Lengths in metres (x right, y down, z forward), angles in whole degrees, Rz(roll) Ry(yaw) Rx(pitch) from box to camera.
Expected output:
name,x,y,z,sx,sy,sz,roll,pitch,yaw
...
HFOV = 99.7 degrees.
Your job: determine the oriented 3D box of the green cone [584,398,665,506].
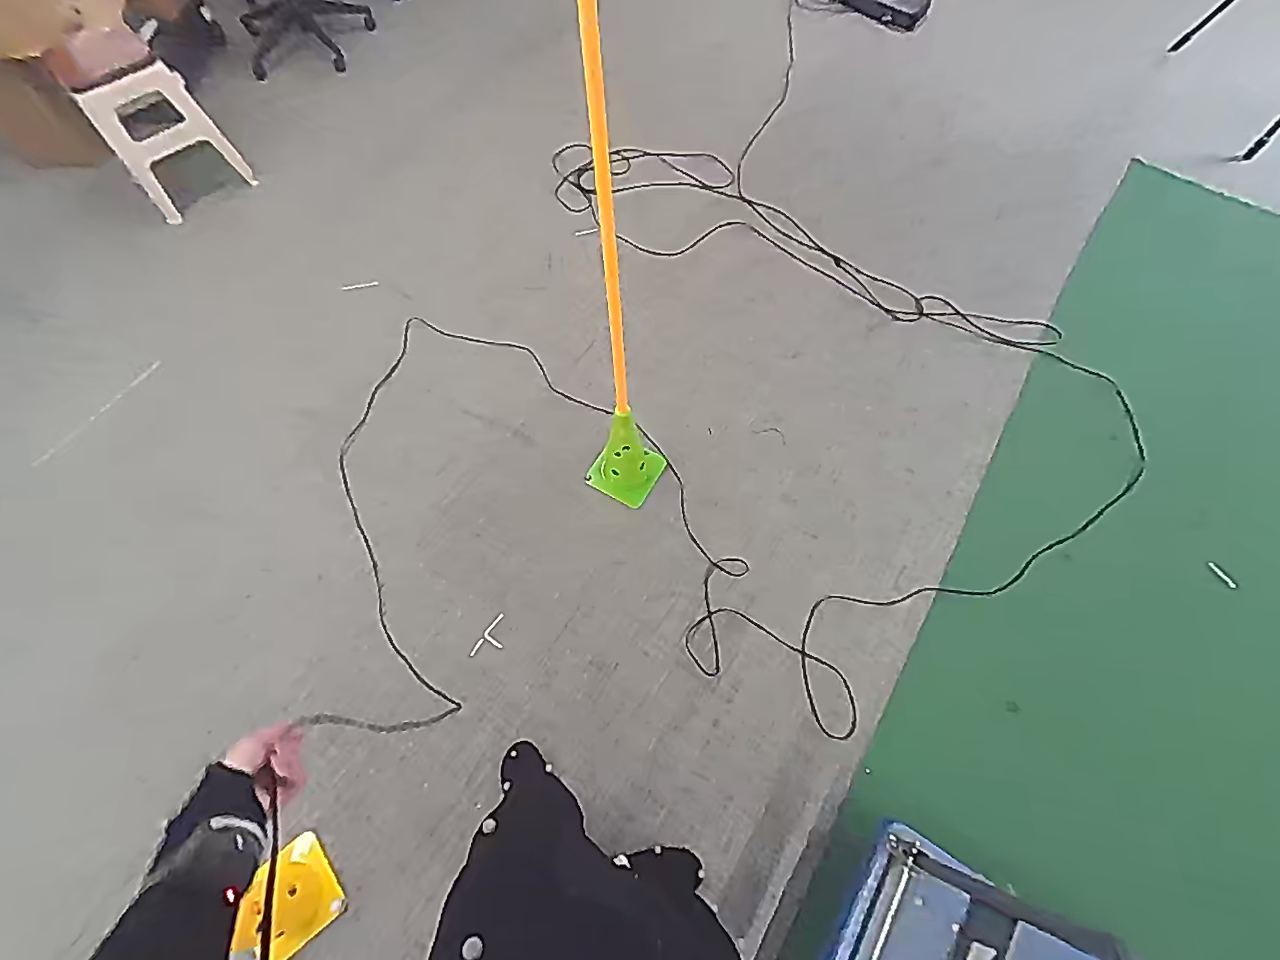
name,x,y,z,sx,sy,sz,roll,pitch,yaw
green cone,-0.043,-0.109,1.524,0.200,0.368,0.202,27,67,12
